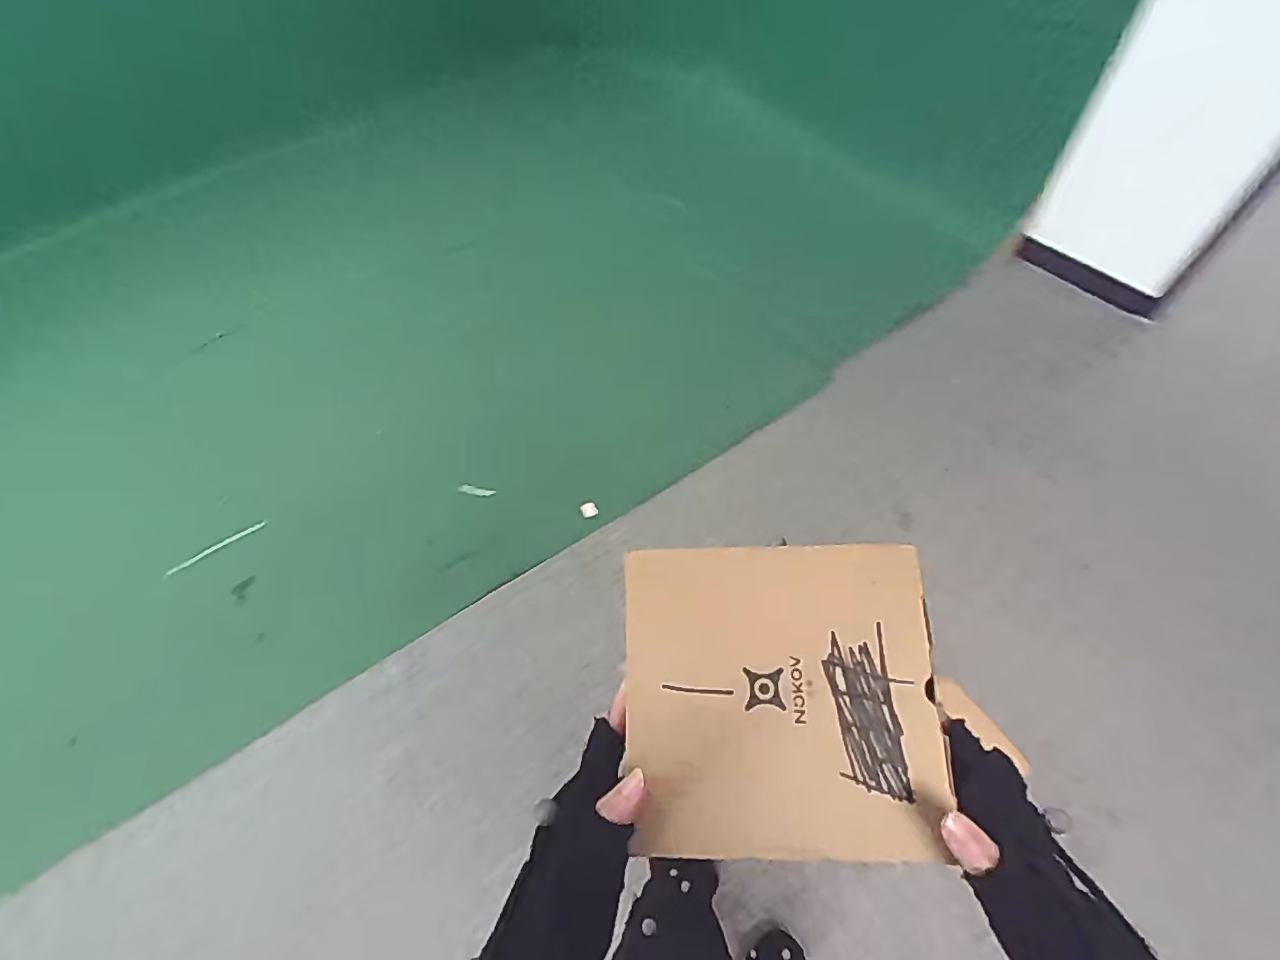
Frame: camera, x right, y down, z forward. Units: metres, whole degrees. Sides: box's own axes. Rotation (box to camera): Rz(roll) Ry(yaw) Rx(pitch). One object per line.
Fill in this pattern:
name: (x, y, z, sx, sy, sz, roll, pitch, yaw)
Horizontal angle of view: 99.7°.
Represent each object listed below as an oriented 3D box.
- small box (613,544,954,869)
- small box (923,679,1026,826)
small box: (0.078, 0.145, 0.386, 0.179, 0.176, 0.168, -6, 73, 1)
small box: (0.538, 0.498, 0.990, 0.168, 0.176, 0.179, -28, 59, -11)
